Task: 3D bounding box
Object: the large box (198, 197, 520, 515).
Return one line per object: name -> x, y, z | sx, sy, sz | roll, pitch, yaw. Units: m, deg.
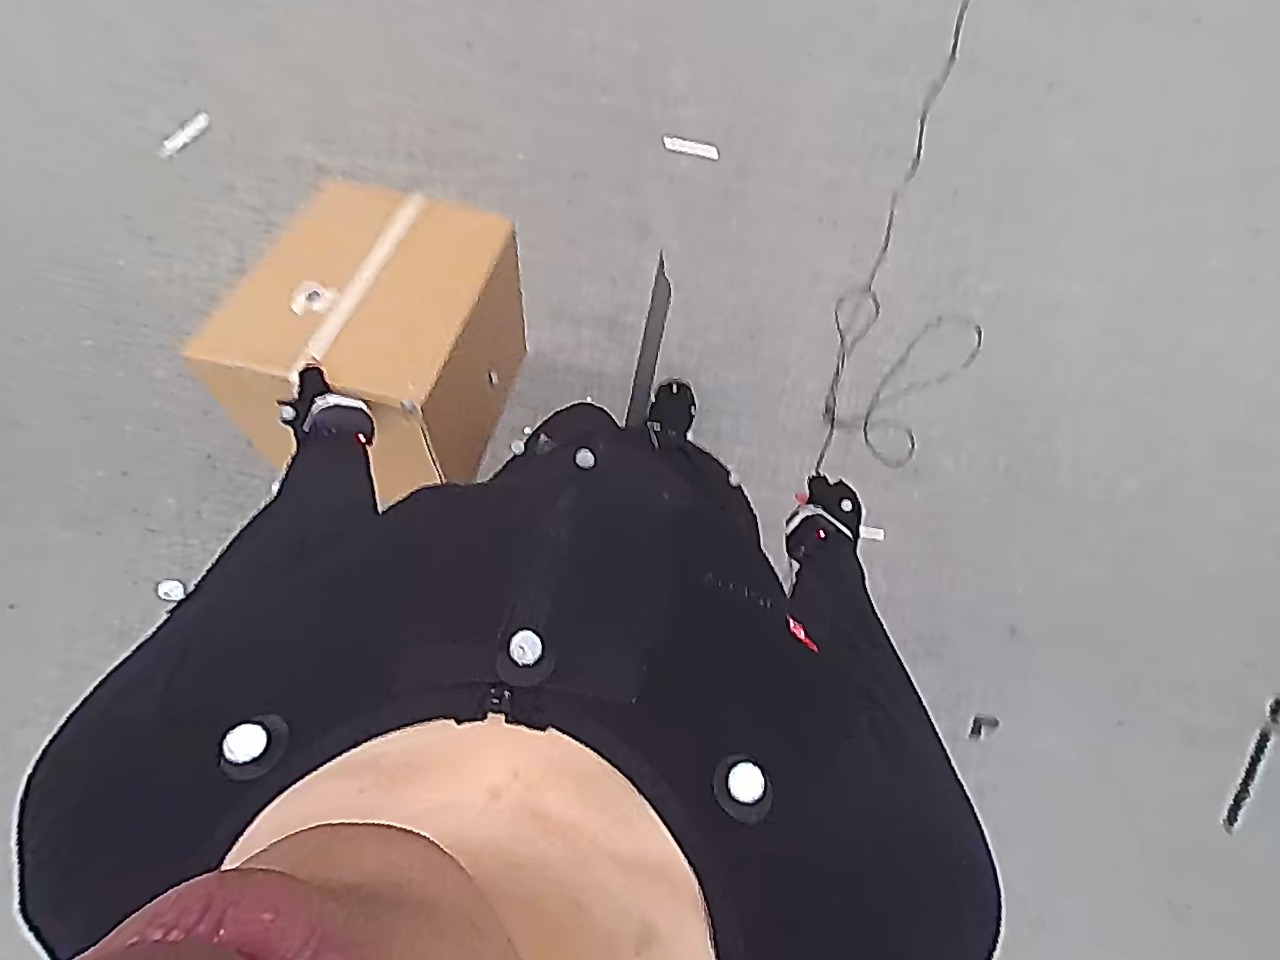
large box -> -0.414, -0.206, 0.932 | 0.320, 0.320, 0.408 | 11, 58, 0
